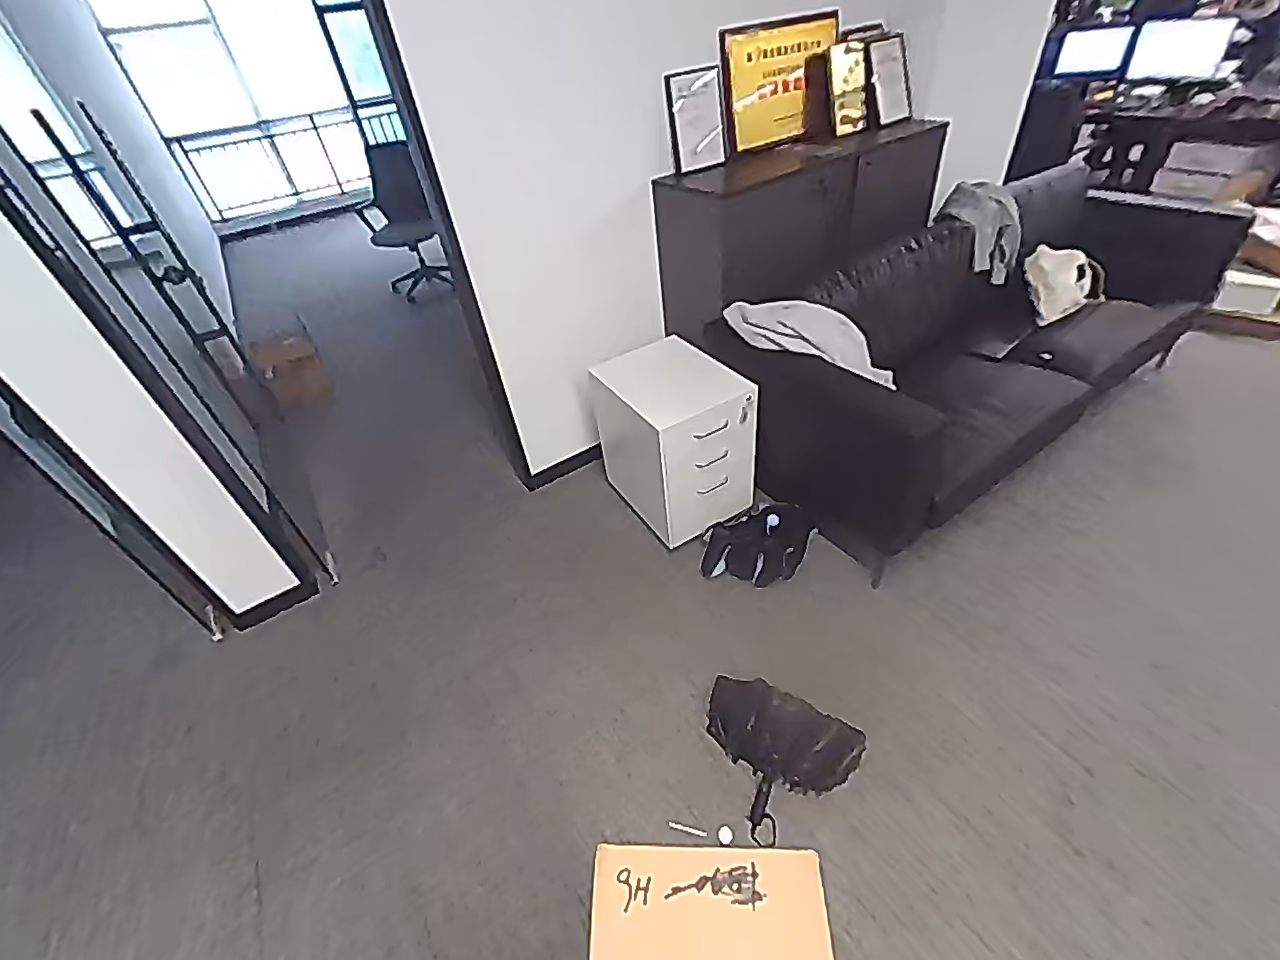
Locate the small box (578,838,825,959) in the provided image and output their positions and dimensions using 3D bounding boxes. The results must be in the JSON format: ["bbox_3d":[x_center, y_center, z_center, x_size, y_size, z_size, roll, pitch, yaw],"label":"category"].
[{"bbox_3d":[0.037,0.381,0.405,0.168,0.176,0.179,3,52,-2],"label":"small box"}]
